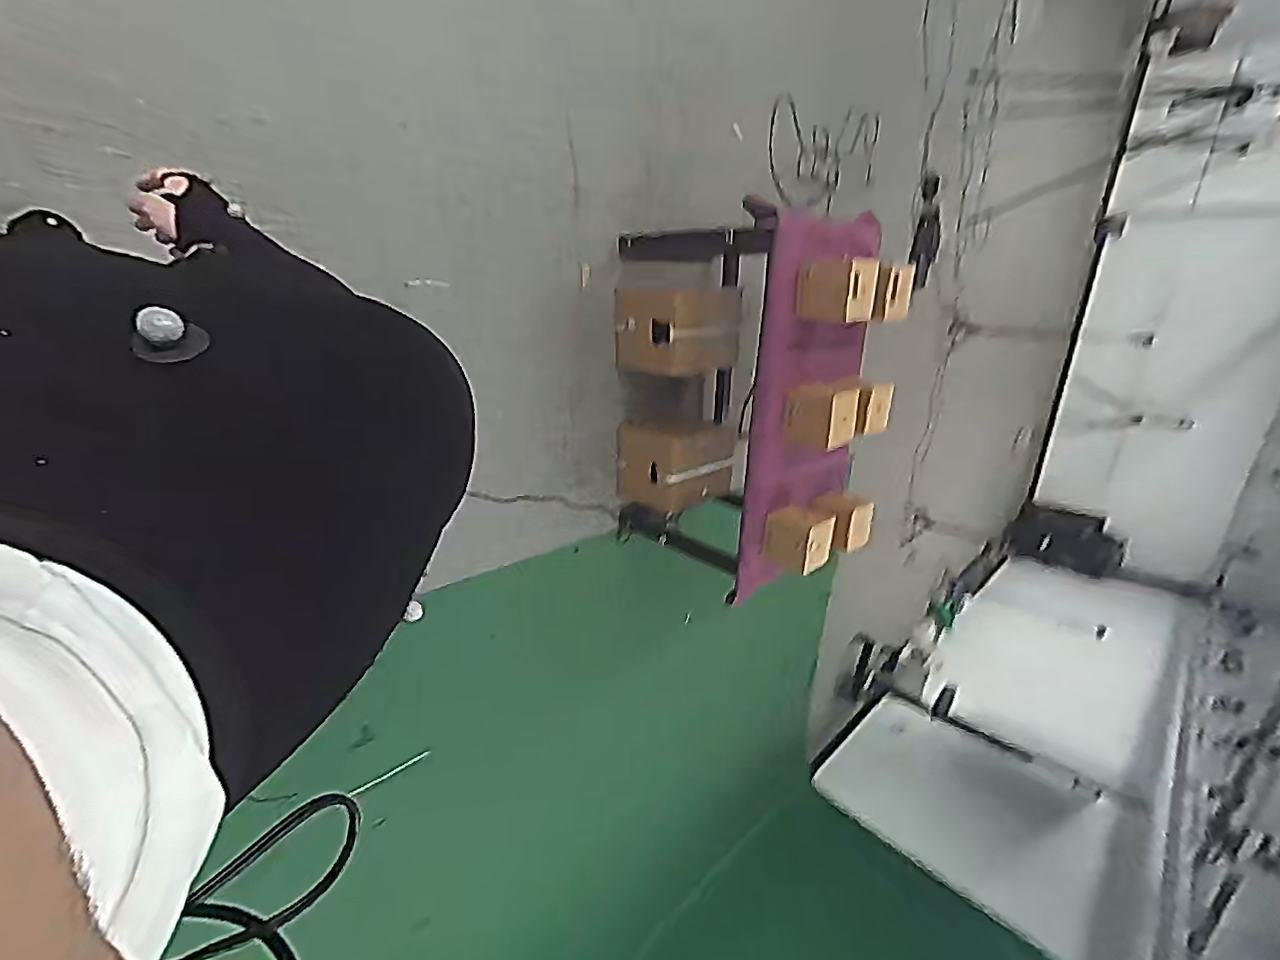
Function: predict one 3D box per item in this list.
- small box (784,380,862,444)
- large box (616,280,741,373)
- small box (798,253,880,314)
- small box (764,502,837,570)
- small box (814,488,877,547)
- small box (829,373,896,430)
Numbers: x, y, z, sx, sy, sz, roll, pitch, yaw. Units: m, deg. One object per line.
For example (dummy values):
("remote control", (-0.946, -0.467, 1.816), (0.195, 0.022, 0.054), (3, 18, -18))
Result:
("small box", (0.594, -0.228, 1.759), (0.179, 0.176, 0.168), (-18, 116, -41))
("large box", (0.153, -0.620, 2.141), (0.408, 0.320, 0.320), (-20, 118, -41))
("small box", (0.594, -0.588, 1.626), (0.179, 0.176, 0.168), (-19, 118, -41))
("small box", (0.551, 0.184, 1.862), (0.179, 0.176, 0.168), (-15, 113, -44))
("small box", (0.778, 0.138, 2.074), (0.179, 0.176, 0.168), (-14, 112, -41))
("small box", (0.782, -0.286, 1.931), (0.179, 0.176, 0.168), (-16, 116, -40))
